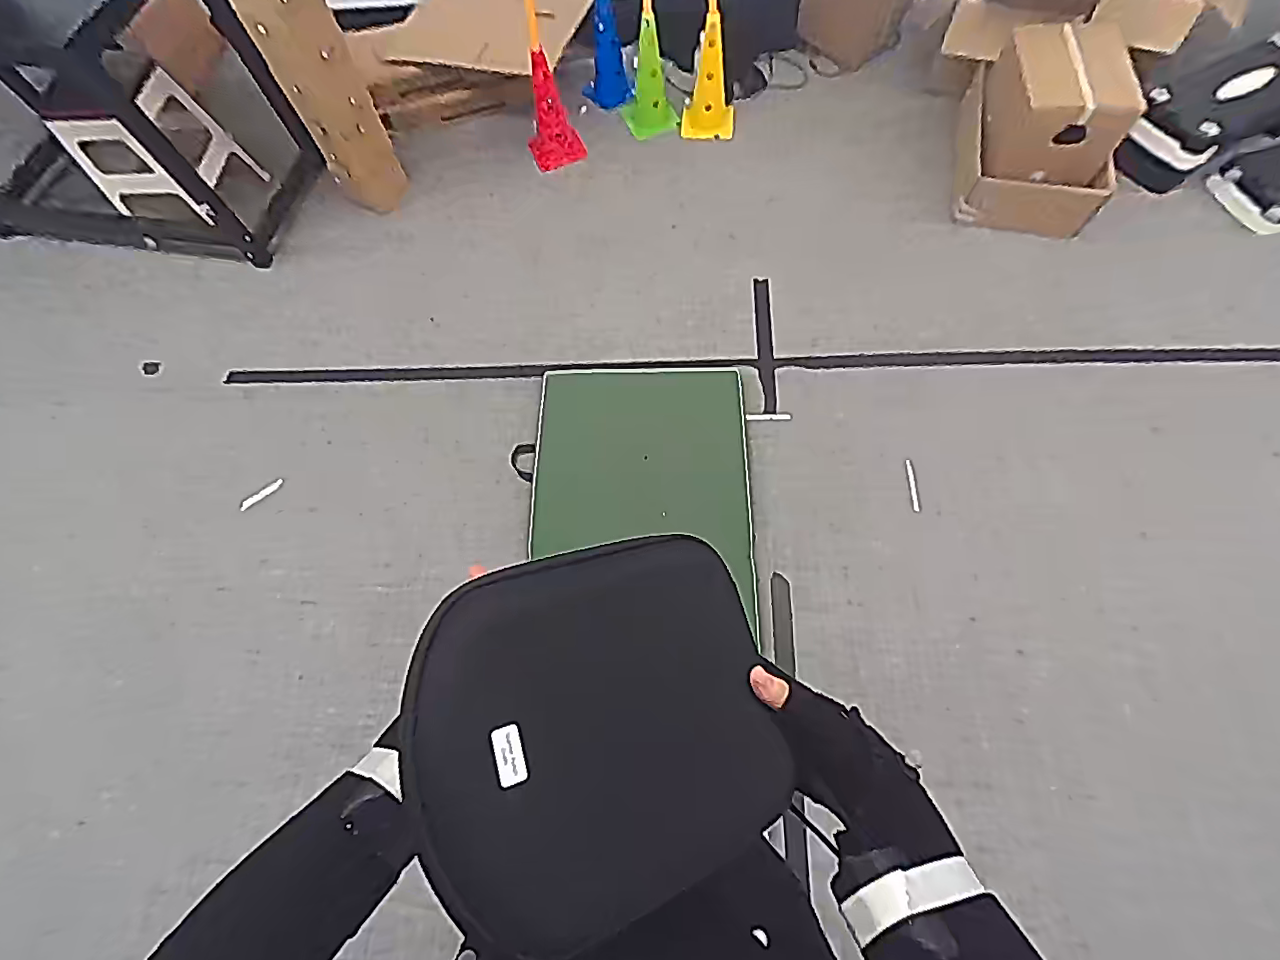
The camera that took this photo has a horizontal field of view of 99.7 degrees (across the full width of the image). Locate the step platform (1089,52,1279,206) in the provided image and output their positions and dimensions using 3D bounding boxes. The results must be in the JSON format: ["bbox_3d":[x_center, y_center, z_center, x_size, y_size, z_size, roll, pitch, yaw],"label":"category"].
[{"bbox_3d":[1.983,-1.234,1.895,0.684,0.204,0.286,-27,68,-8],"label":"step platform"}]
